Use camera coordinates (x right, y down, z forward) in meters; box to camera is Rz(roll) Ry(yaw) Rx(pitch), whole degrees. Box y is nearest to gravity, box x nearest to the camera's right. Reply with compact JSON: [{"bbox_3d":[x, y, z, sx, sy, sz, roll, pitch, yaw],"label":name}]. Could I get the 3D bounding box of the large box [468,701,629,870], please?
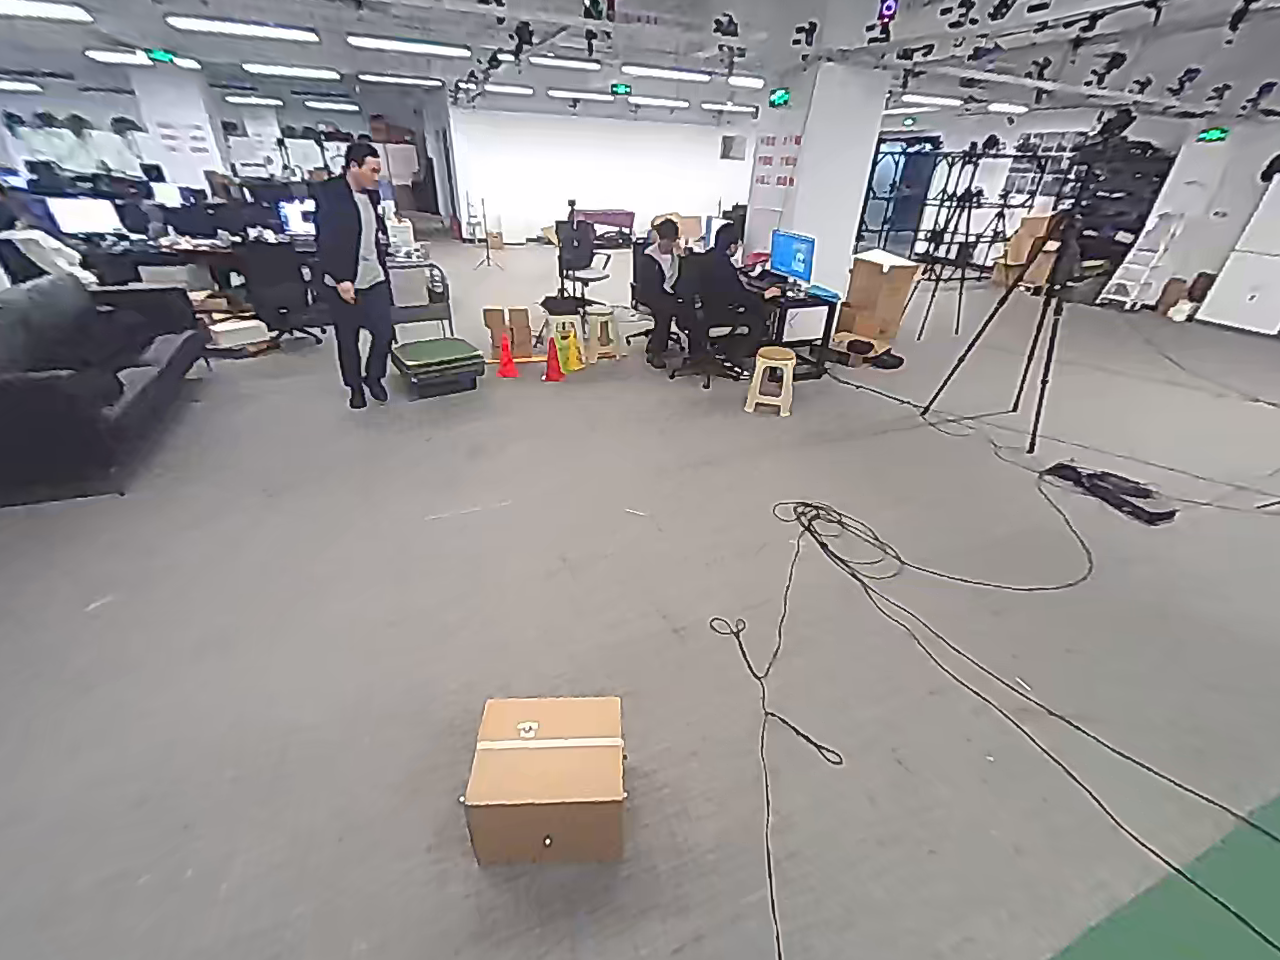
[{"bbox_3d":[-0.241,0.876,1.562,0.408,0.320,0.320,-1,30,-3],"label":"large box"}]
